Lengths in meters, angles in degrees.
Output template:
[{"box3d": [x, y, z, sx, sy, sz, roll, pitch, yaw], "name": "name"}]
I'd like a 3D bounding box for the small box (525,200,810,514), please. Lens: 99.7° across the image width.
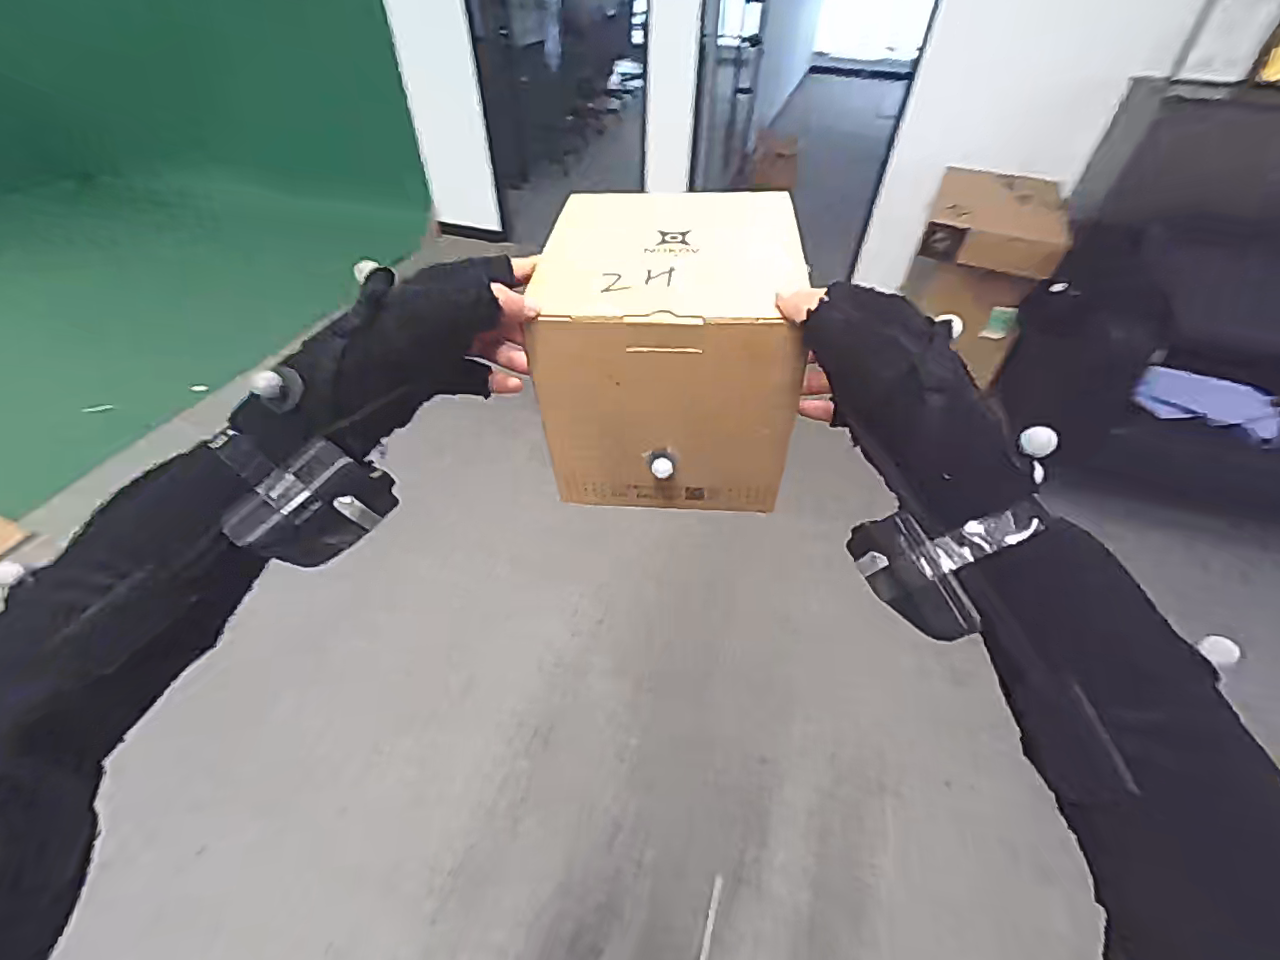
[{"box3d": [0.025, -0.096, 0.418, 0.168, 0.176, 0.179, 2, 48, 6], "name": "small box"}]
